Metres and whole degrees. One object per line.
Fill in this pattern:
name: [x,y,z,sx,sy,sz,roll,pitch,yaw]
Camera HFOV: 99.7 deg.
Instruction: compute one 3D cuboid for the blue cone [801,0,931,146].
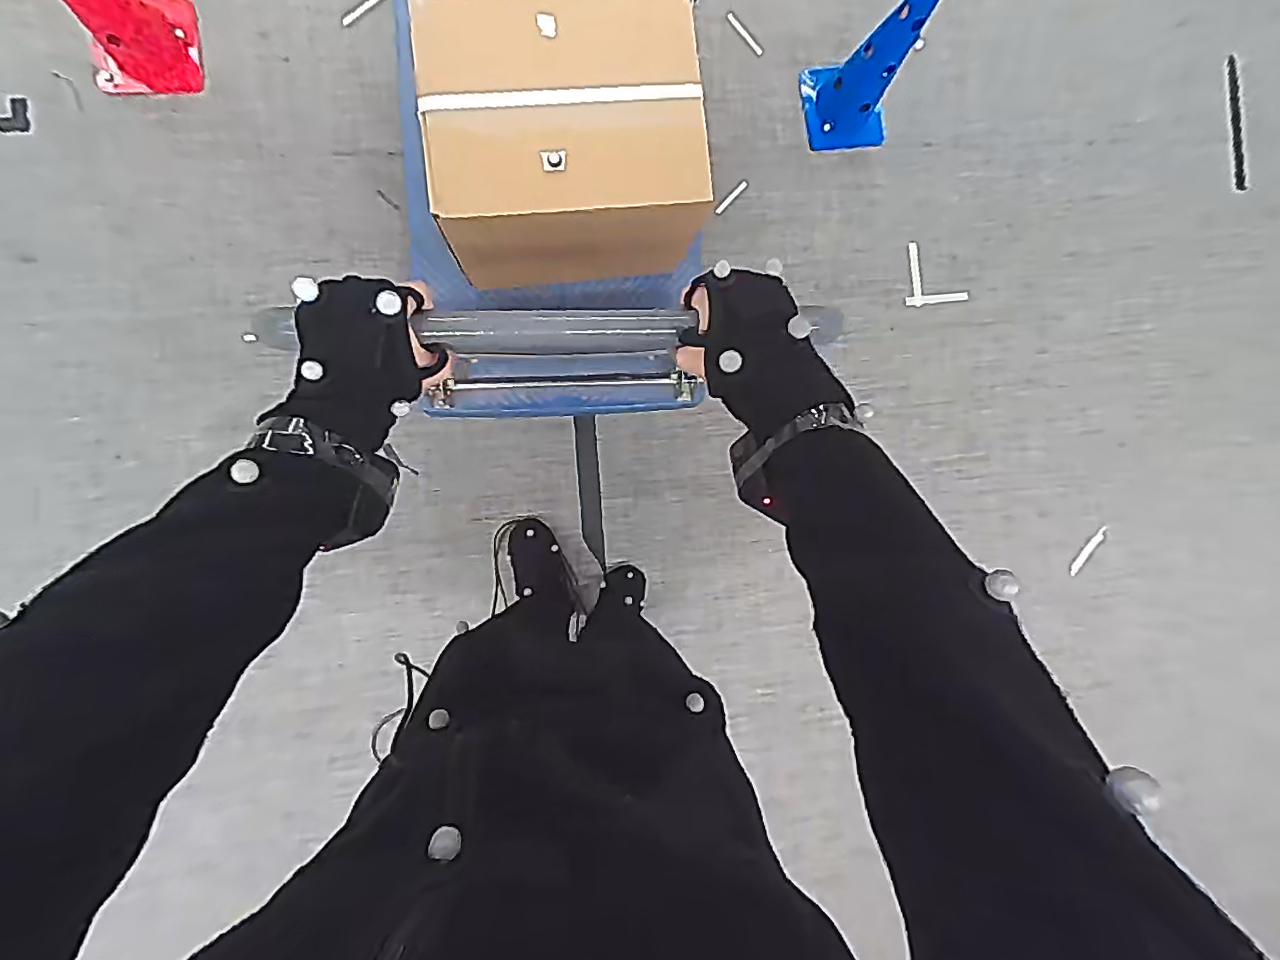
blue cone: [0.519,-0.921,1.168,0.193,0.380,0.192,-9,91,-8]
